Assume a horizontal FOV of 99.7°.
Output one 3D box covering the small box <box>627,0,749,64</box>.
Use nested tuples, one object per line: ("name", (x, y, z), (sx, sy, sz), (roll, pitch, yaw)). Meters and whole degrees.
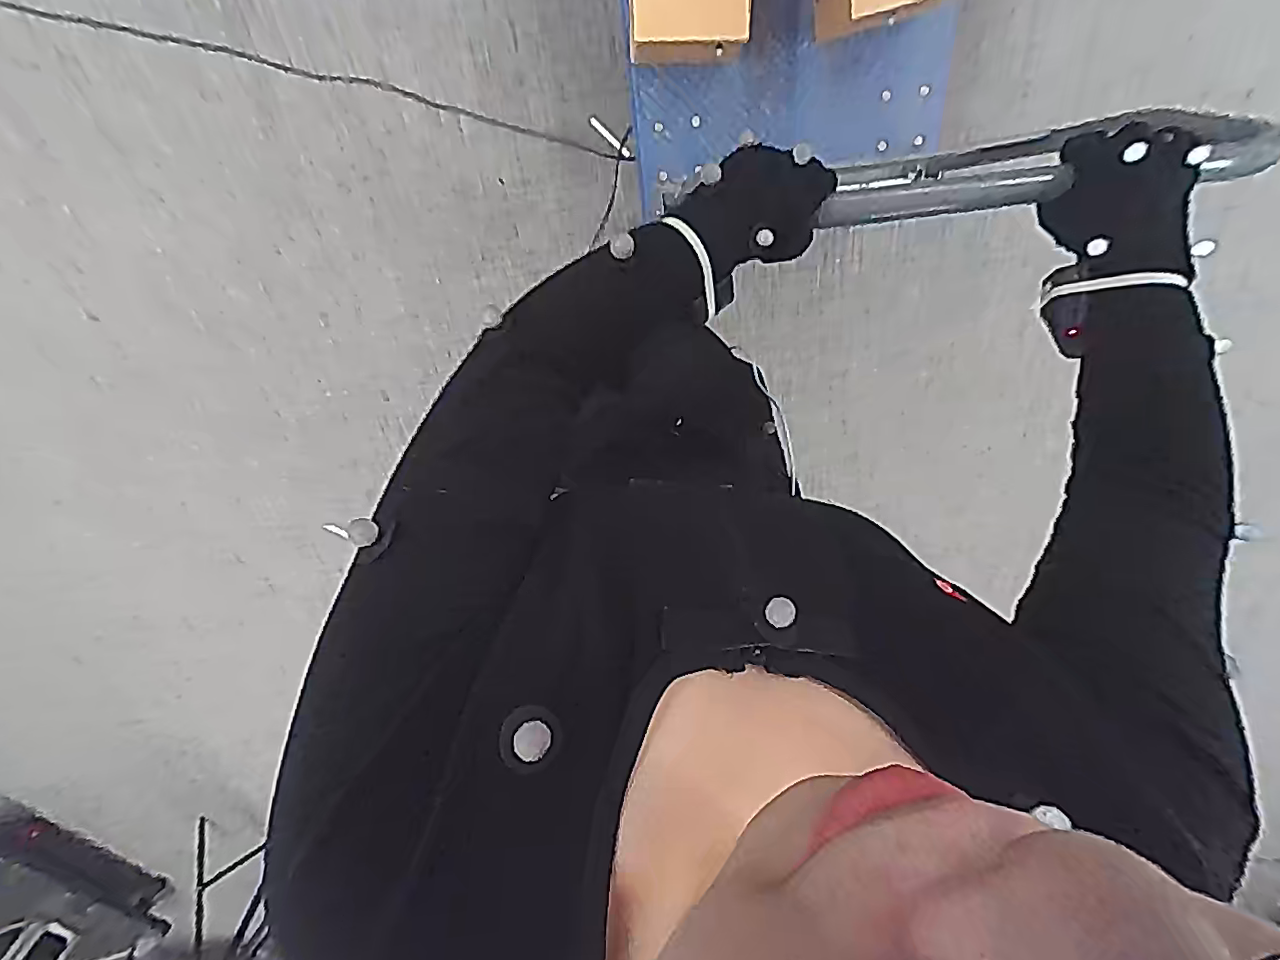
("small box", (0.068, -0.764, 0.837), (0.179, 0.176, 0.168), (-3, 118, -2))

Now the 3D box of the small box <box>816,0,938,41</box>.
("small box", (0.373, -0.807, 0.825), (0.179, 0.176, 0.168), (-12, 119, 4))
